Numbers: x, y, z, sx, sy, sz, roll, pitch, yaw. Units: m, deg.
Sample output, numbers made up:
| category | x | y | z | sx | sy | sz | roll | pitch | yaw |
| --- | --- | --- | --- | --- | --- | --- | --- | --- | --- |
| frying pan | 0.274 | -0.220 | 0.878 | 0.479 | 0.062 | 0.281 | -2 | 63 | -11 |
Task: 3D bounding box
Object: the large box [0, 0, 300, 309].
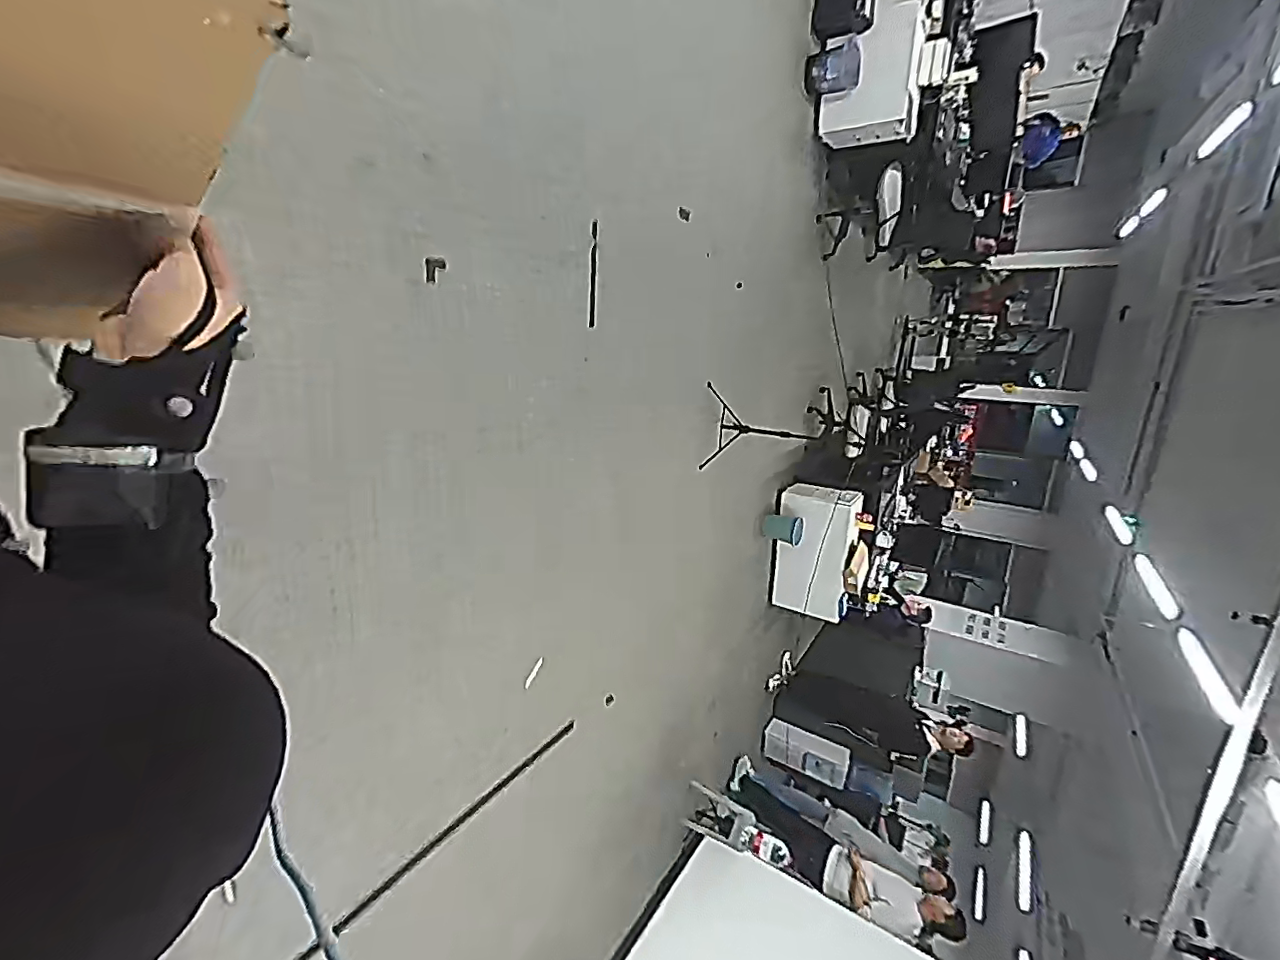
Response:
| category | x | y | z | sx | sy | sz | roll | pitch | yaw |
| --- | --- | --- | --- | --- | --- | --- | --- | --- | --- |
| large box | -0.435 | -0.293 | 0.189 | 0.408 | 0.320 | 0.320 | -20 | 84 | -58 |
